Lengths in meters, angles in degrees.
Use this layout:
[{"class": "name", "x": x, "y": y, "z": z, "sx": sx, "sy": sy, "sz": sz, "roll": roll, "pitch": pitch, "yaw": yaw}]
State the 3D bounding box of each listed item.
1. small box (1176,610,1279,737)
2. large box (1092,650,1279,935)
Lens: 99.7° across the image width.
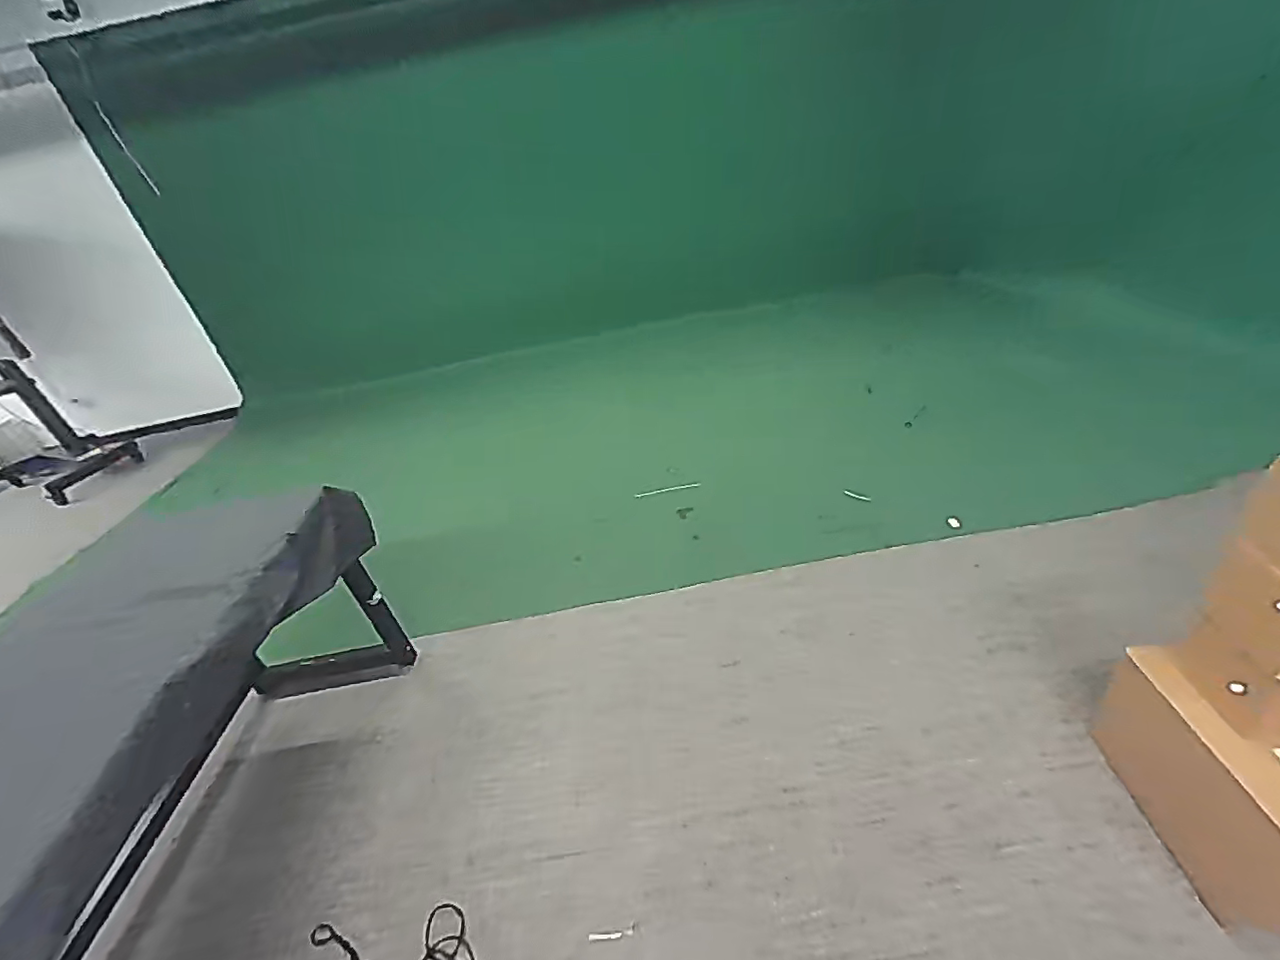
[{"class": "small box", "x": 1.165, "y": 0.353, "z": 0.994, "sx": 0.168, "sy": 0.176, "sz": 0.179, "roll": -7, "pitch": 31, "yaw": 7}, {"class": "large box", "x": 1.219, "y": 0.589, "z": 1.063, "sx": 0.320, "sy": 0.320, "sz": 0.408, "roll": -9, "pitch": 33, "yaw": 8}]
